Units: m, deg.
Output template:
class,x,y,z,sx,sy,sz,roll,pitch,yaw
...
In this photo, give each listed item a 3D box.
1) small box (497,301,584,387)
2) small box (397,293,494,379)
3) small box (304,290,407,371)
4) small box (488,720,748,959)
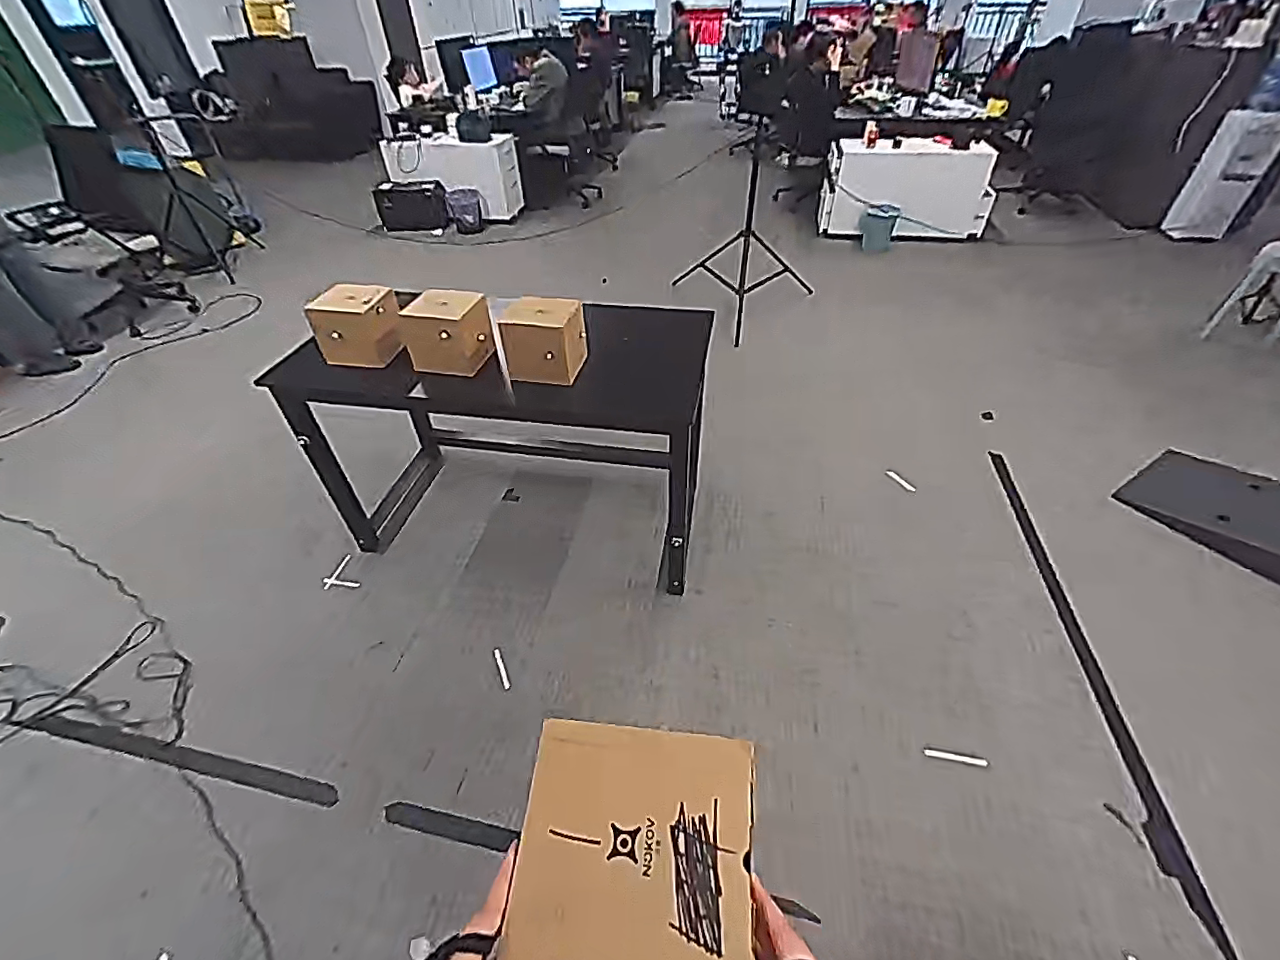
class,x,y,z,sx,sy,sz,roll,pitch,yaw
small box,-0.255,-0.361,1.444,0.179,0.176,0.168,6,41,10
small box,-0.524,-0.394,1.487,0.179,0.176,0.168,7,42,10
small box,-0.792,-0.422,1.529,0.179,0.176,0.168,4,43,7
small box,-0.005,0.321,0.465,0.179,0.176,0.168,3,54,7
